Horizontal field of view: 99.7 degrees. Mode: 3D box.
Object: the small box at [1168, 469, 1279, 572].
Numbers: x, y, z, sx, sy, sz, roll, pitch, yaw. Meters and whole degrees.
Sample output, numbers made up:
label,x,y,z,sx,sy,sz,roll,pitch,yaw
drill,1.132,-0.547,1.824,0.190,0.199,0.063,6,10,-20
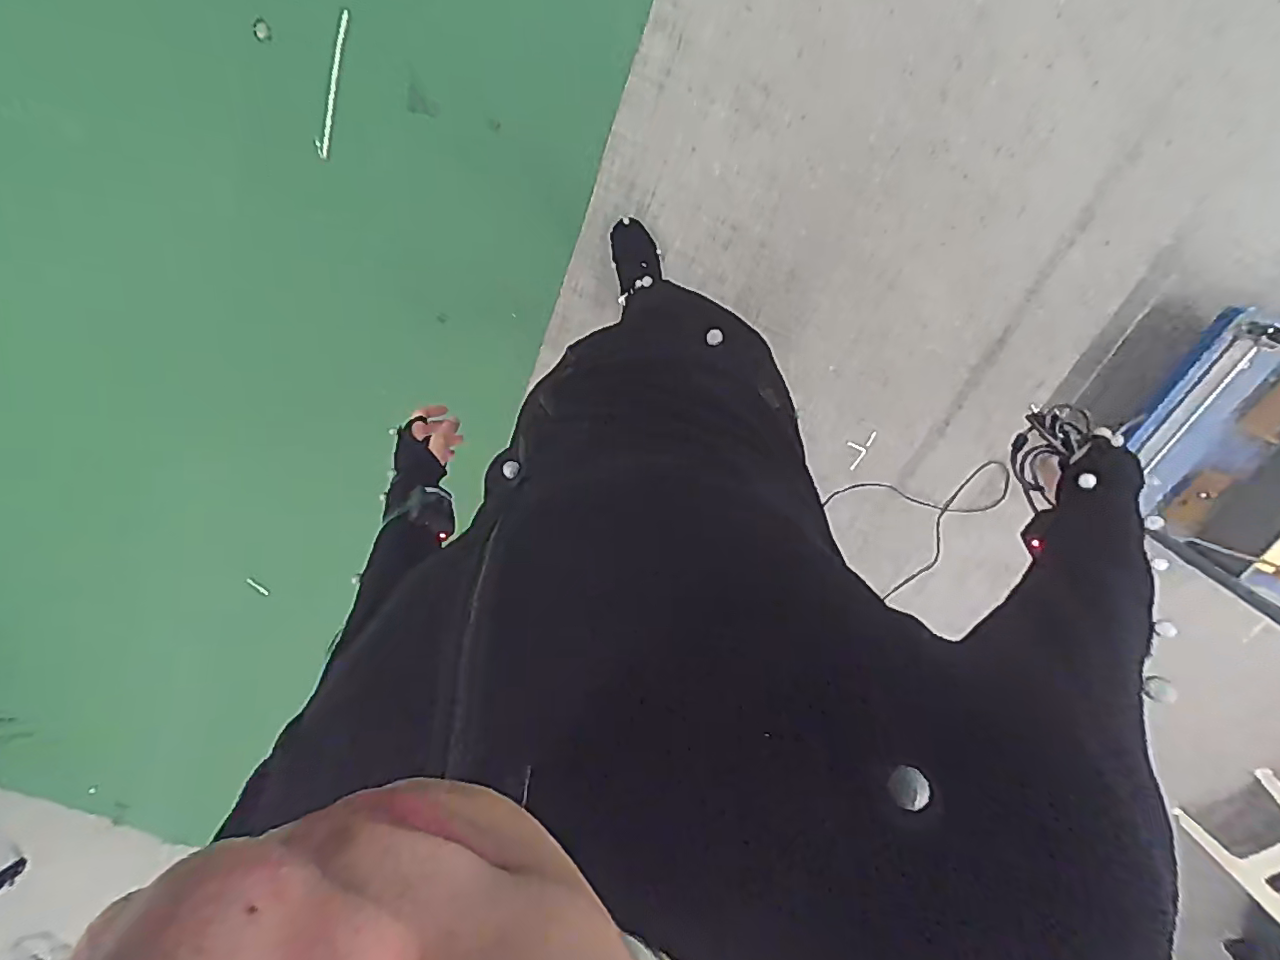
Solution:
label,x,y,z,sx,sy,sz,roll,pitch,yaw
small box,1.512,0.094,1.352,0.179,0.176,0.168,22,114,-6
